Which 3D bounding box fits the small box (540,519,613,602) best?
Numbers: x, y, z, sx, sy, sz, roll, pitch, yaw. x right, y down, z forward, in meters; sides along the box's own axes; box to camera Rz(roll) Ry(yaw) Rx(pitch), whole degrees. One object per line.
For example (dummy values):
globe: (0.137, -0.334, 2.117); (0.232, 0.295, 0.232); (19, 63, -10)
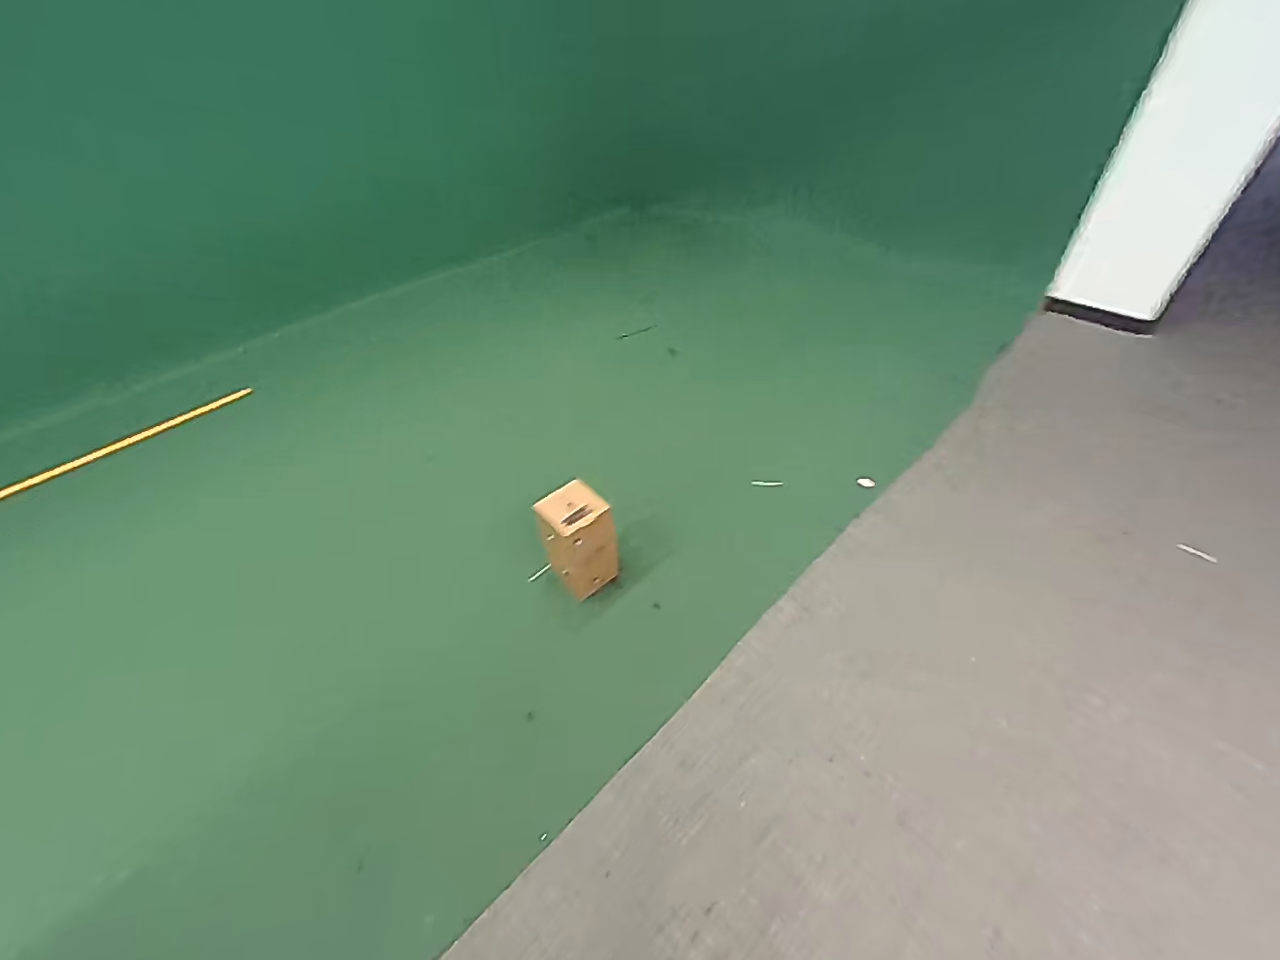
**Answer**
small box: (-0.207, 0.267, 1.789); (0.168, 0.176, 0.179); (-33, 52, -27)
